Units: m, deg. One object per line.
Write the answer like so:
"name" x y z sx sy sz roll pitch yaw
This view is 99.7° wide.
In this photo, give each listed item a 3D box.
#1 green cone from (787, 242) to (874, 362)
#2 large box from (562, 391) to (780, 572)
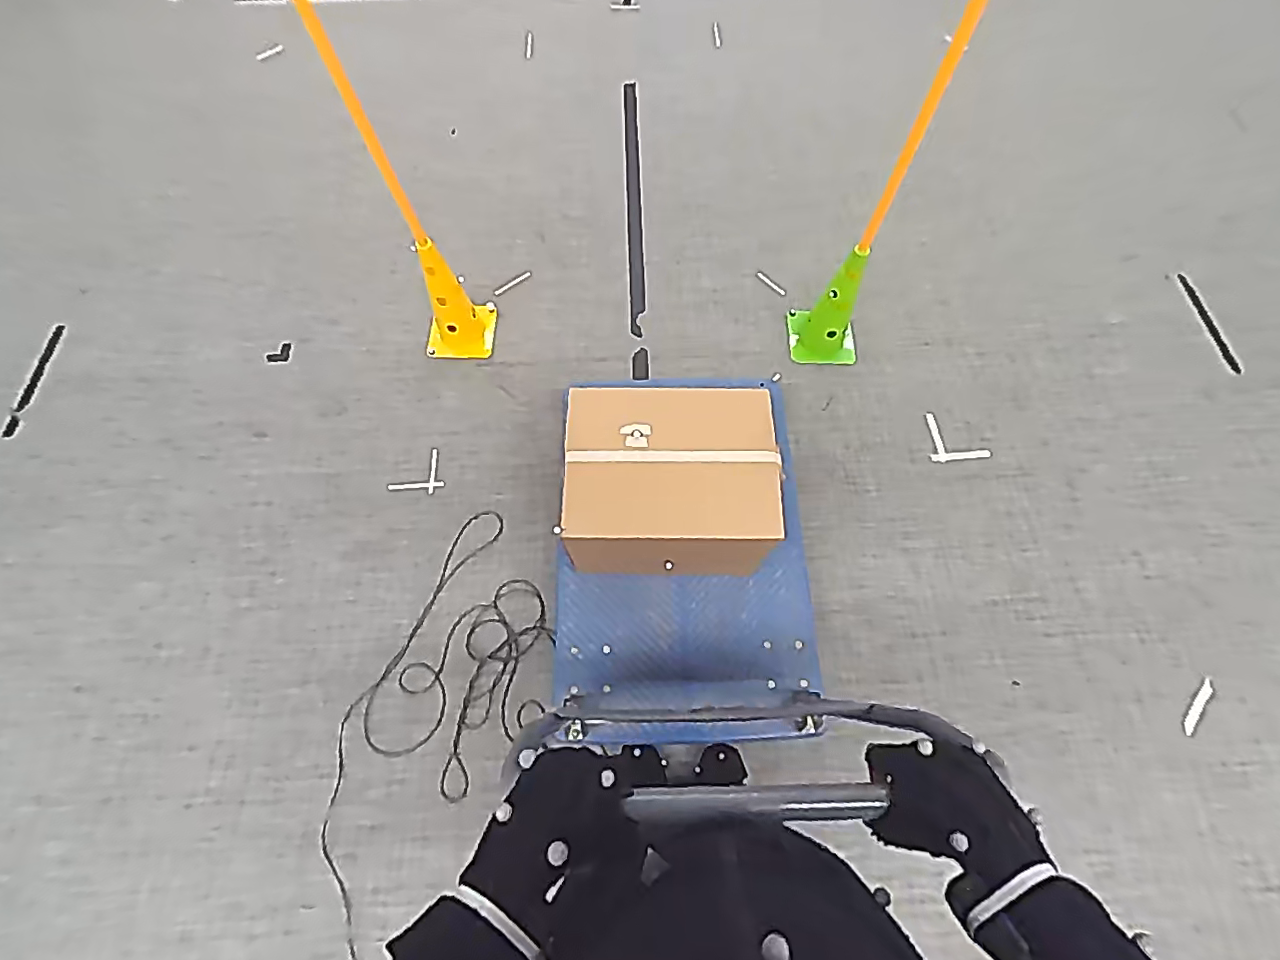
"green cone" 0.573 -0.525 1.554 0.202 0.368 0.200 2 67 -1
"large box" 0.060 0.019 1.170 0.408 0.320 0.320 0 68 1
